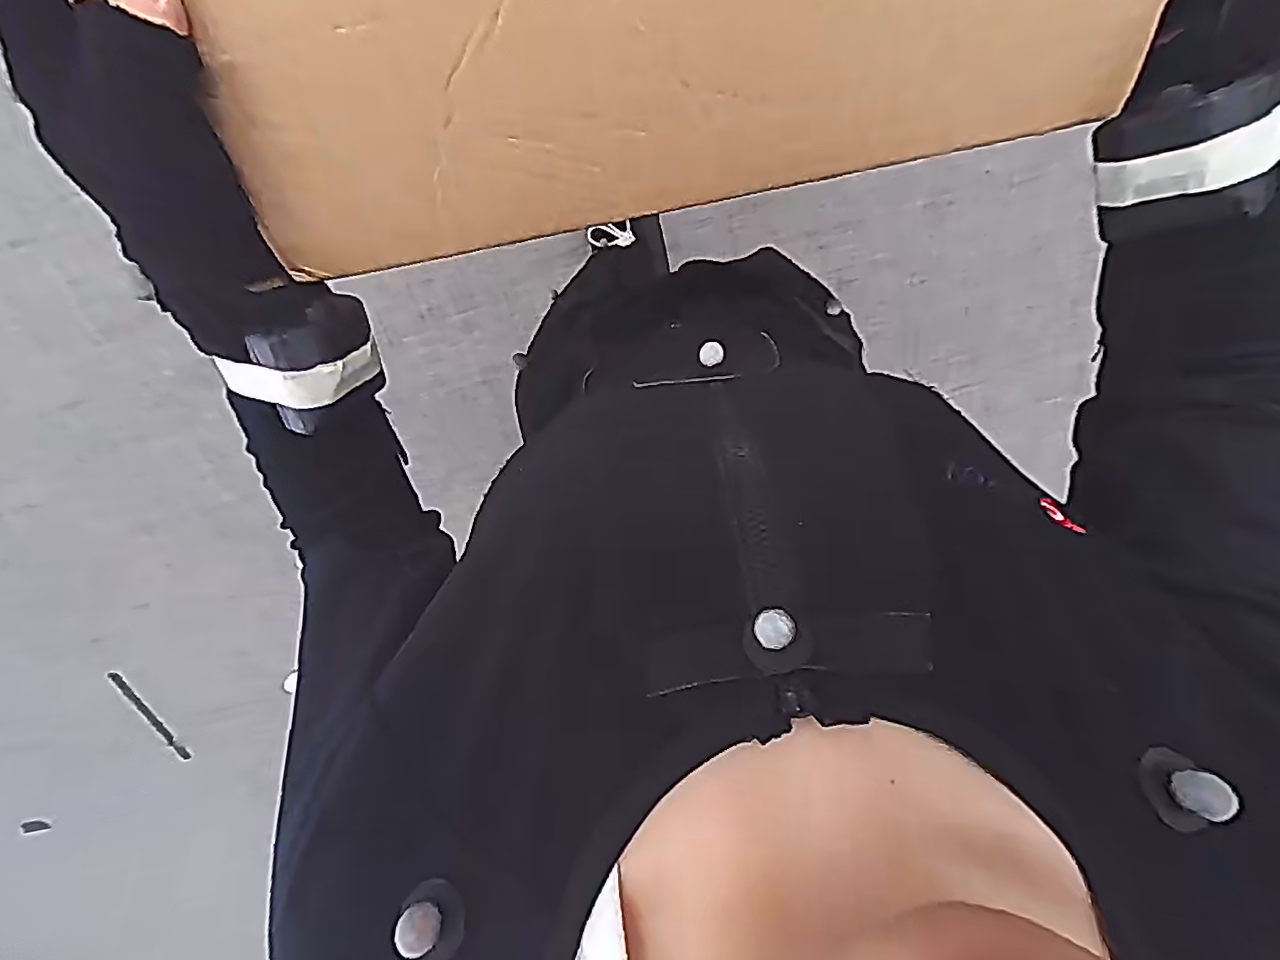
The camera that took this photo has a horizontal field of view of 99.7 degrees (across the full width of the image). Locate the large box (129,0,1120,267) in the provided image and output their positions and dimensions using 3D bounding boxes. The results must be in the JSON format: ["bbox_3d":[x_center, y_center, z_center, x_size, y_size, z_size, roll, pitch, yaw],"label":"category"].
[{"bbox_3d":[-0.017,-0.356,0.263,0.408,0.320,0.320,-10,135,2],"label":"large box"}]
